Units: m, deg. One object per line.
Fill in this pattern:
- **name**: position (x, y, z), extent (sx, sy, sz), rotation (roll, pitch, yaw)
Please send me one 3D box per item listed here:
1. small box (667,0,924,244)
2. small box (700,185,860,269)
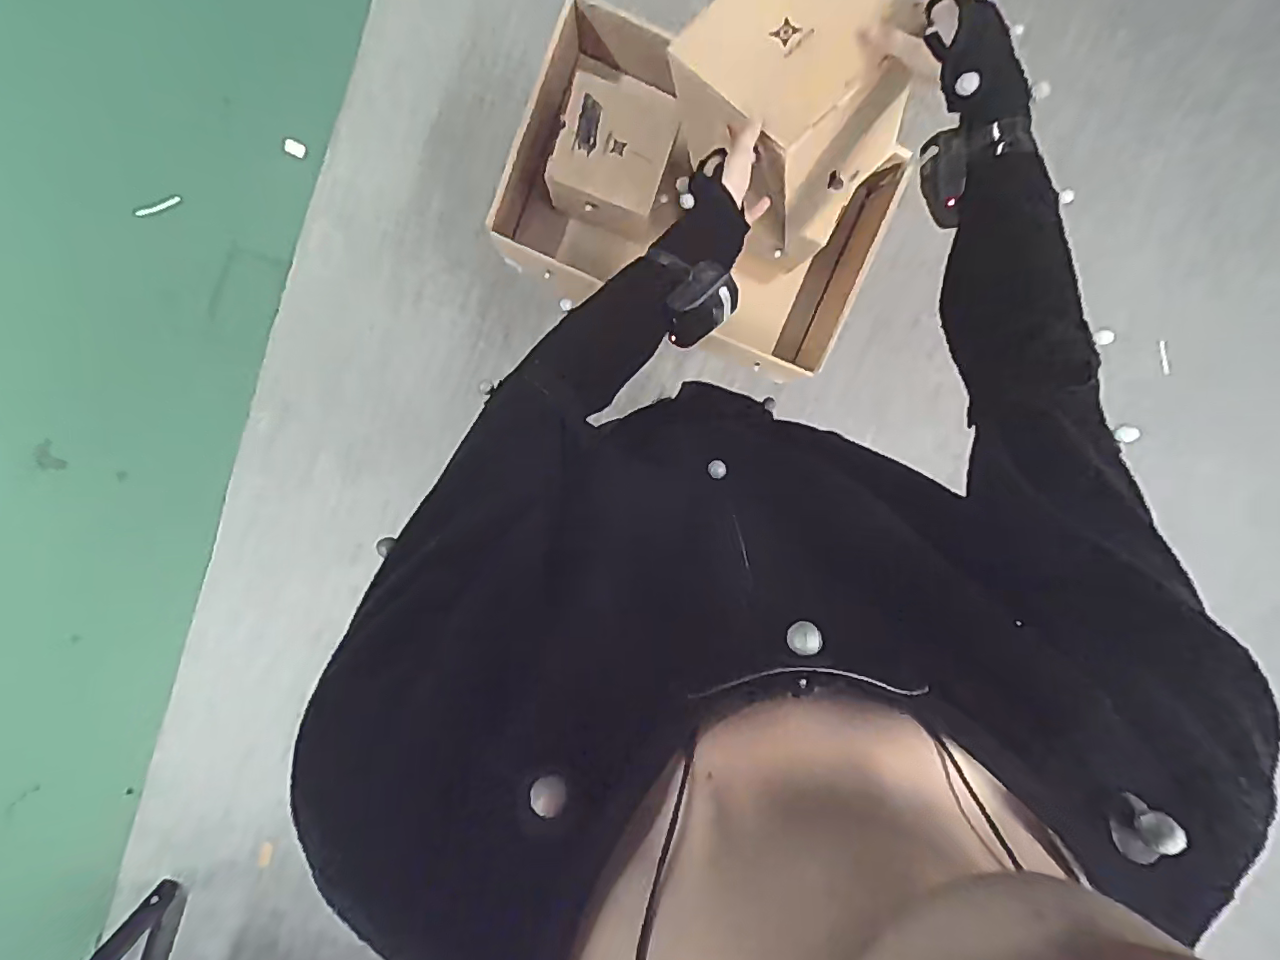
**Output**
- **small box**: position (0.156, -0.396, 0.577), extent (0.168, 0.176, 0.179), rotation (-40, 75, 7)
- **small box**: position (0.205, -0.426, 0.777), extent (0.179, 0.176, 0.168), rotation (26, 97, -4)
